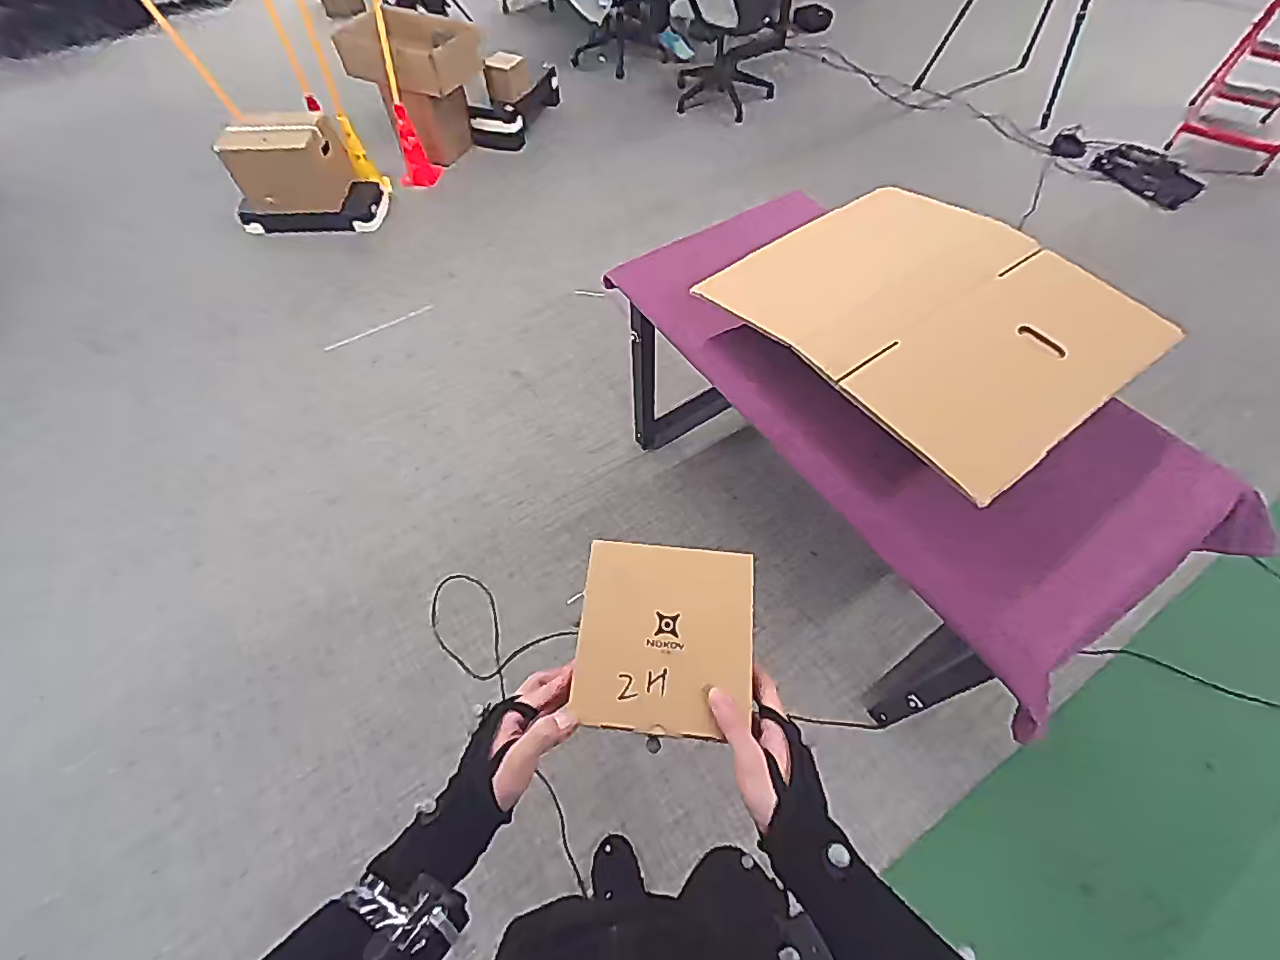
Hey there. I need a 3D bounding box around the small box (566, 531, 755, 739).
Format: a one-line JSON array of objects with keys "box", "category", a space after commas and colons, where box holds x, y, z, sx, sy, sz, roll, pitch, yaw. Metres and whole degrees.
[{"box": [0.025, 0.172, 0.580, 0.168, 0.176, 0.179, 5, 65, 4], "category": "small box"}]
